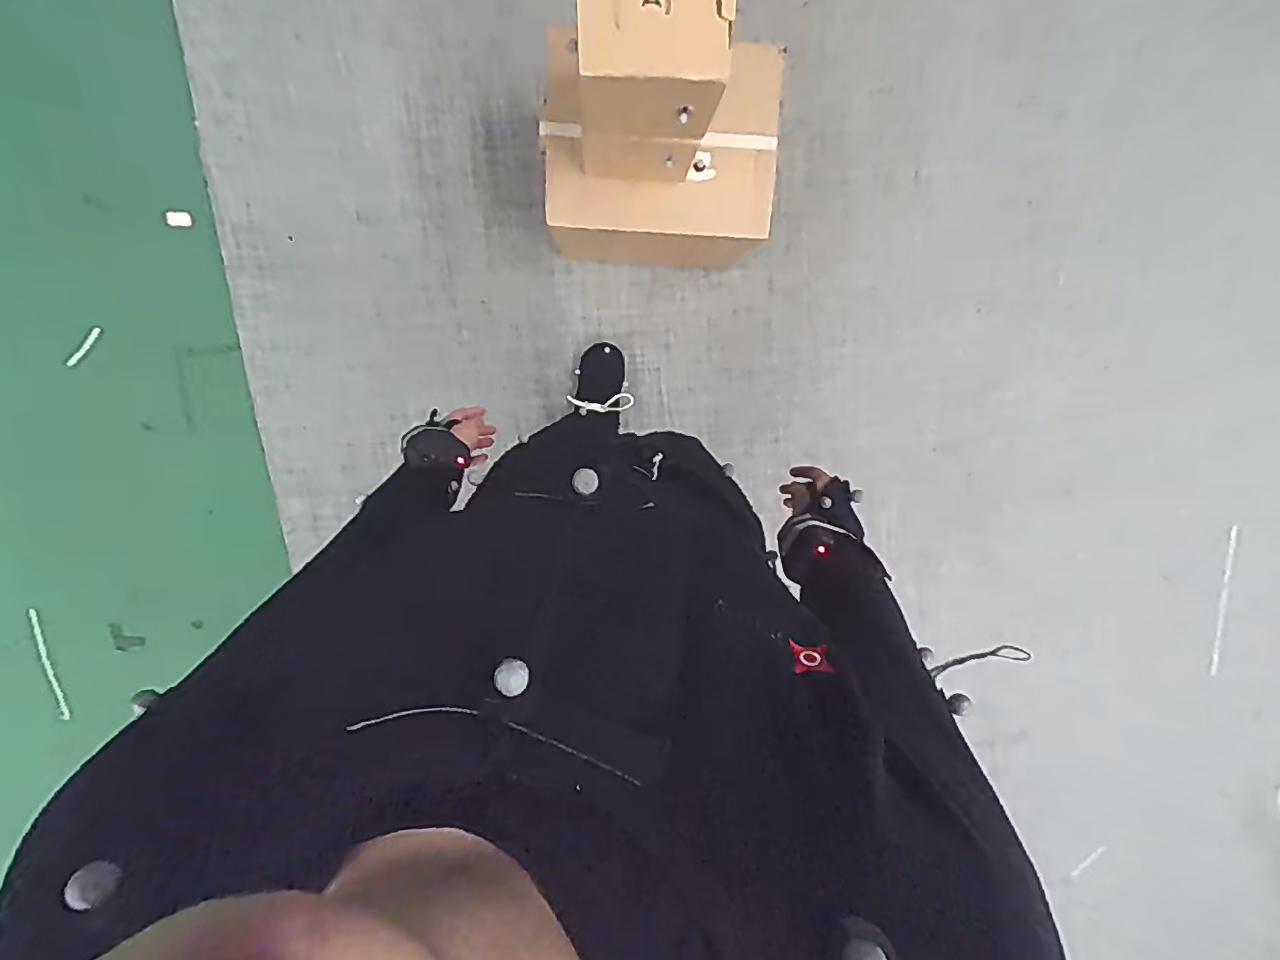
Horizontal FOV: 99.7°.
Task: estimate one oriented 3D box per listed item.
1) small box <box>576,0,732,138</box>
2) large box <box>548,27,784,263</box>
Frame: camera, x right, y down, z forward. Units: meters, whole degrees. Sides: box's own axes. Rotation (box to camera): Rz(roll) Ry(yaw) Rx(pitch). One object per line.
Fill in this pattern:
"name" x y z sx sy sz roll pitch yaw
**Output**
"small box" 0.011 -0.551 0.675 0.179 0.176 0.168 -2 101 -3
"large box" 0.033 -0.625 1.078 0.408 0.320 0.320 1 103 -4
